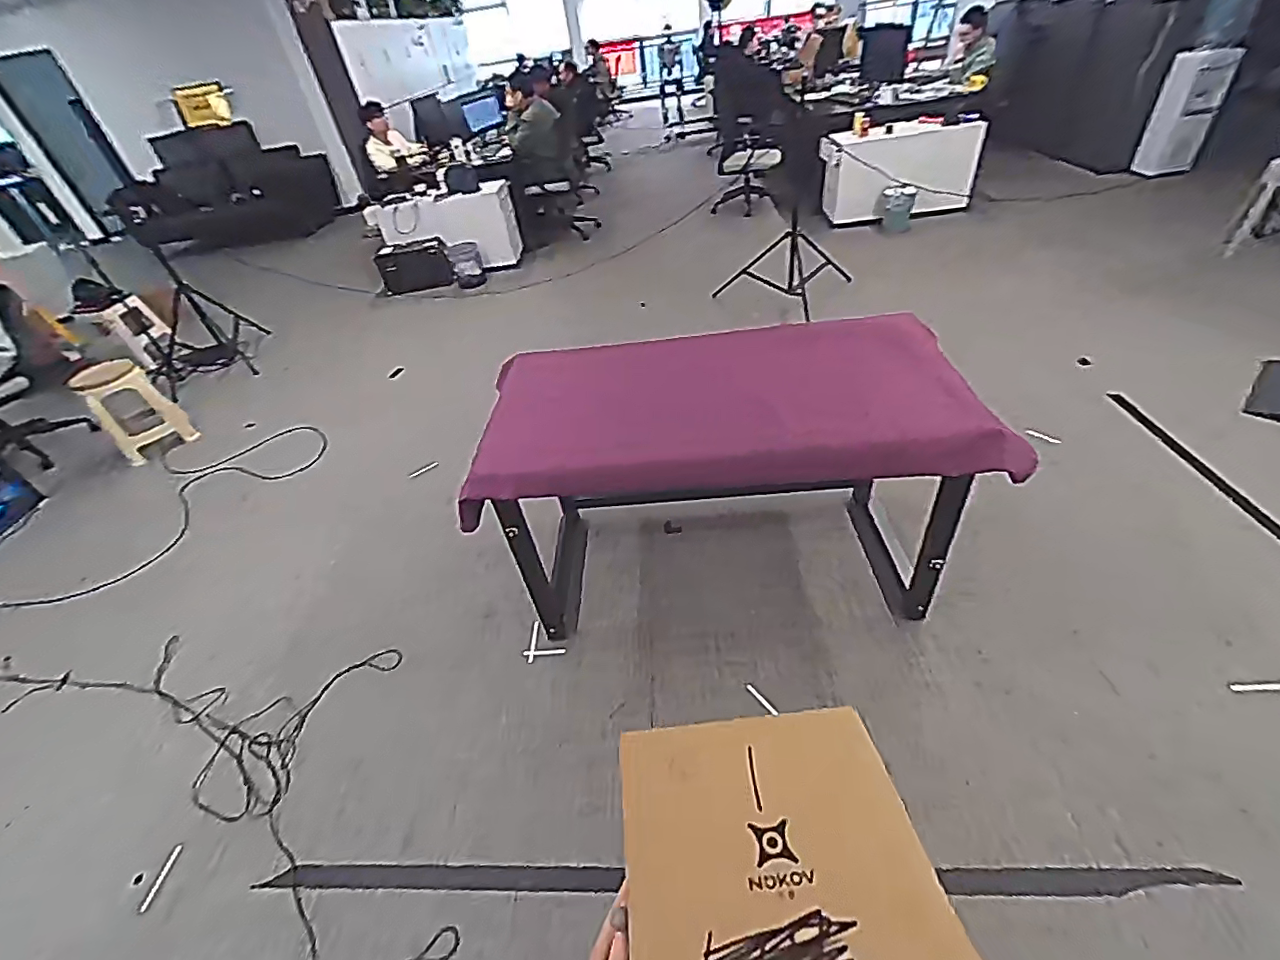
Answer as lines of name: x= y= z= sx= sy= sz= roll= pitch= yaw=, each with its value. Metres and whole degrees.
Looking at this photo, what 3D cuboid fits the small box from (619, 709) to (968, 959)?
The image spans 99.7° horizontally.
small box: x=0.080 y=0.281 z=0.342 sx=0.168 sy=0.176 sz=0.179 roll=-6 pitch=31 yaw=-2
